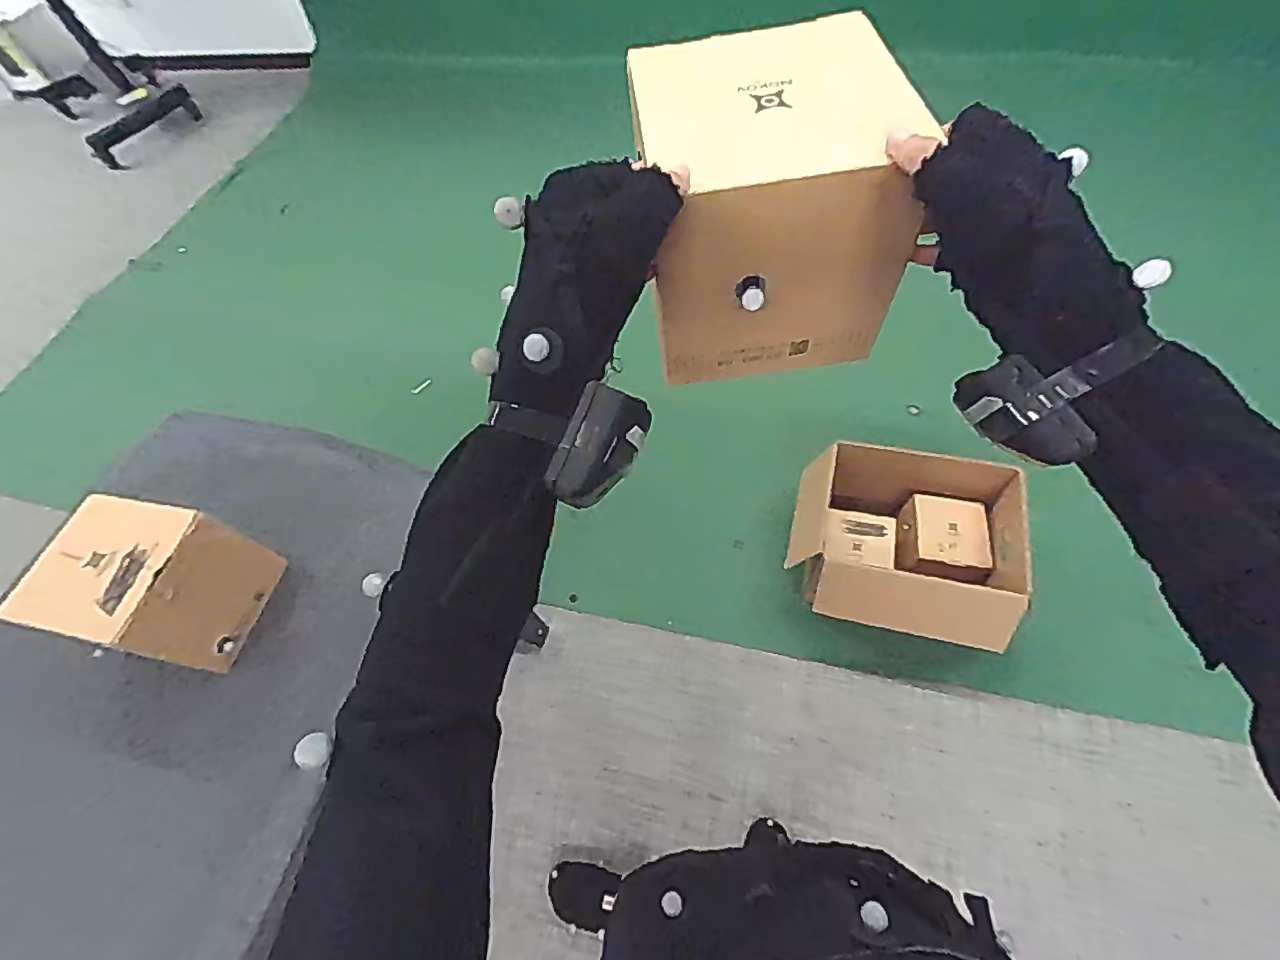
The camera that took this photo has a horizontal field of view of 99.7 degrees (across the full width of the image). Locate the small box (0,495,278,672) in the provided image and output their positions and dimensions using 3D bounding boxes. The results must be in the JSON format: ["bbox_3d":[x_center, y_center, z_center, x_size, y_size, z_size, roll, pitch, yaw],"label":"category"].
[{"bbox_3d":[-0.628,0.140,0.702,0.179,0.176,0.168,7,60,12],"label":"small box"}]

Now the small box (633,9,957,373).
[{"bbox_3d":[0.091,-0.195,0.399,0.168,0.176,0.179,-7,59,3],"label":"small box"}]
